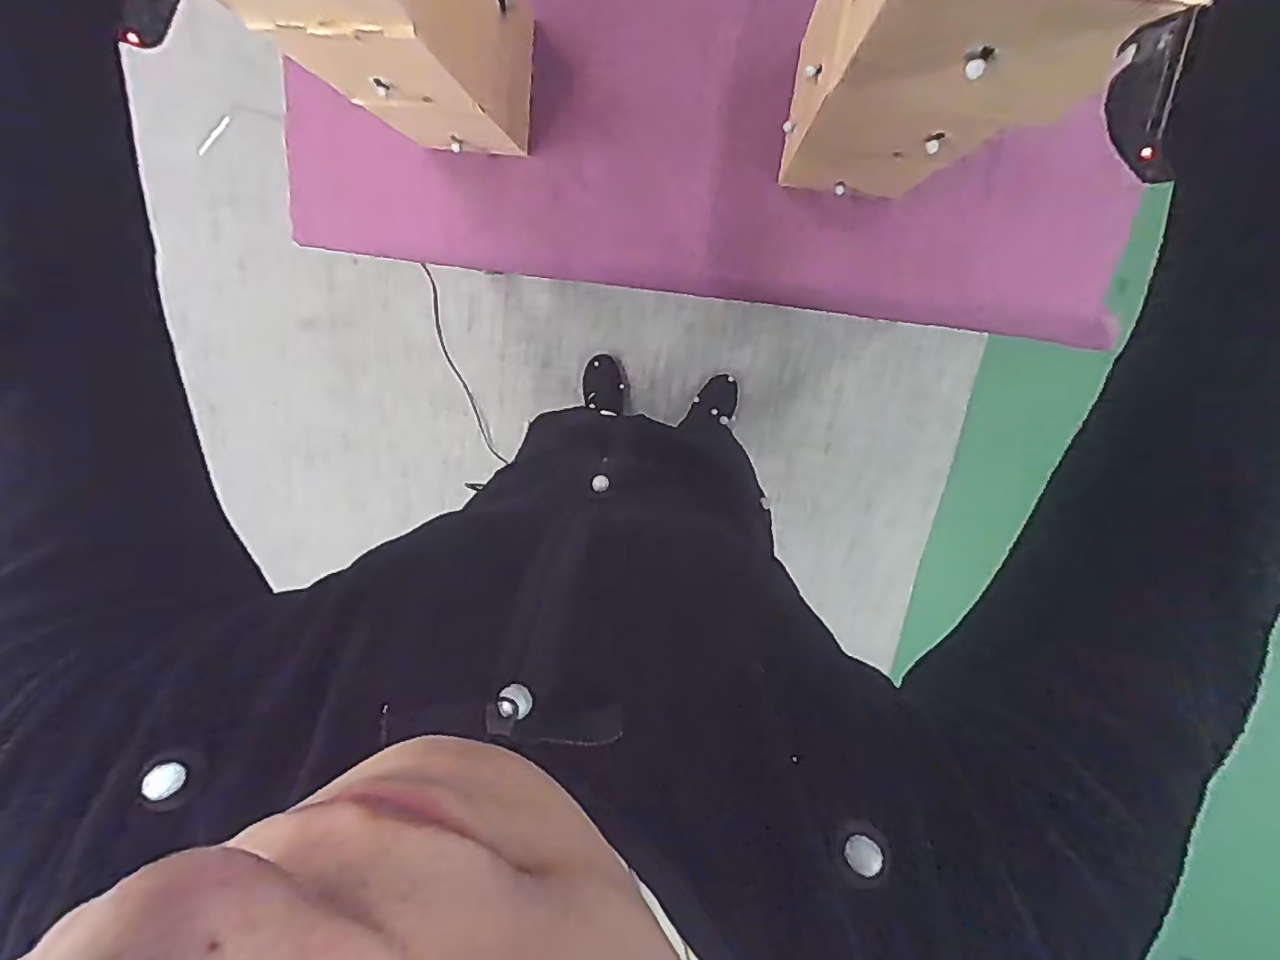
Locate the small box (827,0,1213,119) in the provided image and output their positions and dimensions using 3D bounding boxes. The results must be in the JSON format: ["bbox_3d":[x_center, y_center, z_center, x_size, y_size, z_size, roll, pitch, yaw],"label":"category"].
[{"bbox_3d":[0.242,-0.361,0.349,0.179,0.176,0.168,11,106,5],"label":"small box"}]

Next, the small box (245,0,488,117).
[{"bbox_3d":[-0.263,-0.502,0.545,0.168,0.176,0.179,7,105,5],"label":"small box"}]

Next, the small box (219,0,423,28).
[{"bbox_3d":[-0.280,-0.463,0.386,0.179,0.176,0.168,5,106,6],"label":"small box"}]

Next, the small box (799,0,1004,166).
[{"bbox_3d":[0.253,-0.414,0.504,0.168,0.176,0.179,8,105,5],"label":"small box"}]

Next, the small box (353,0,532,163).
[{"bbox_3d":[-0.246,-0.541,0.701,0.168,0.176,0.179,8,105,5],"label":"small box"}]
